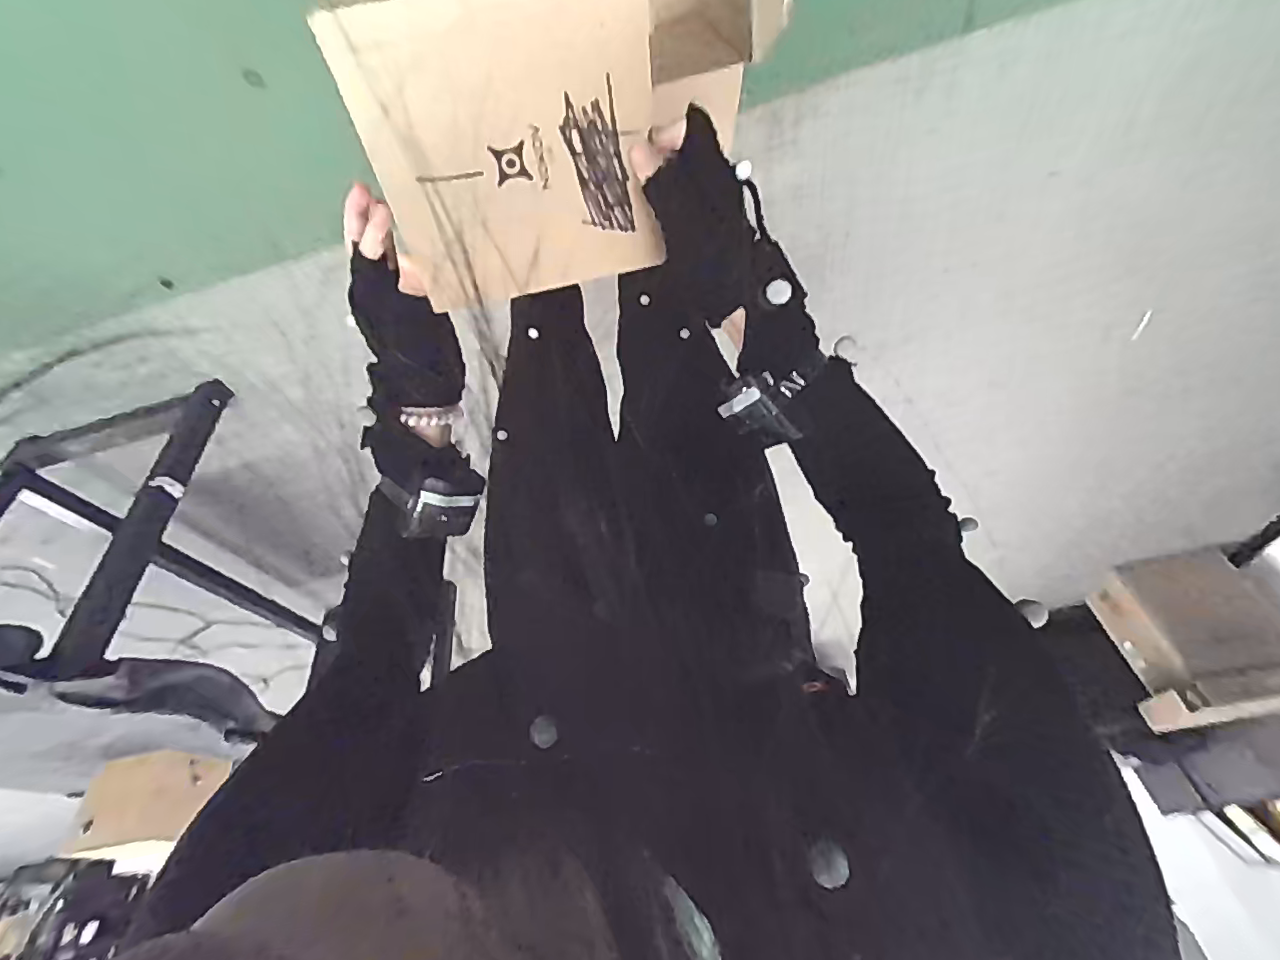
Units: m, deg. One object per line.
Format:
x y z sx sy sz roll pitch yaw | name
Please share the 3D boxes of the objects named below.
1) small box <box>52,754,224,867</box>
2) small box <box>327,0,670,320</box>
-1.031 0.692 1.132 0.179 0.176 0.168 -13 142 4 | small box
-0.087 -0.244 0.386 0.179 0.176 0.168 -14 137 -6 | small box
